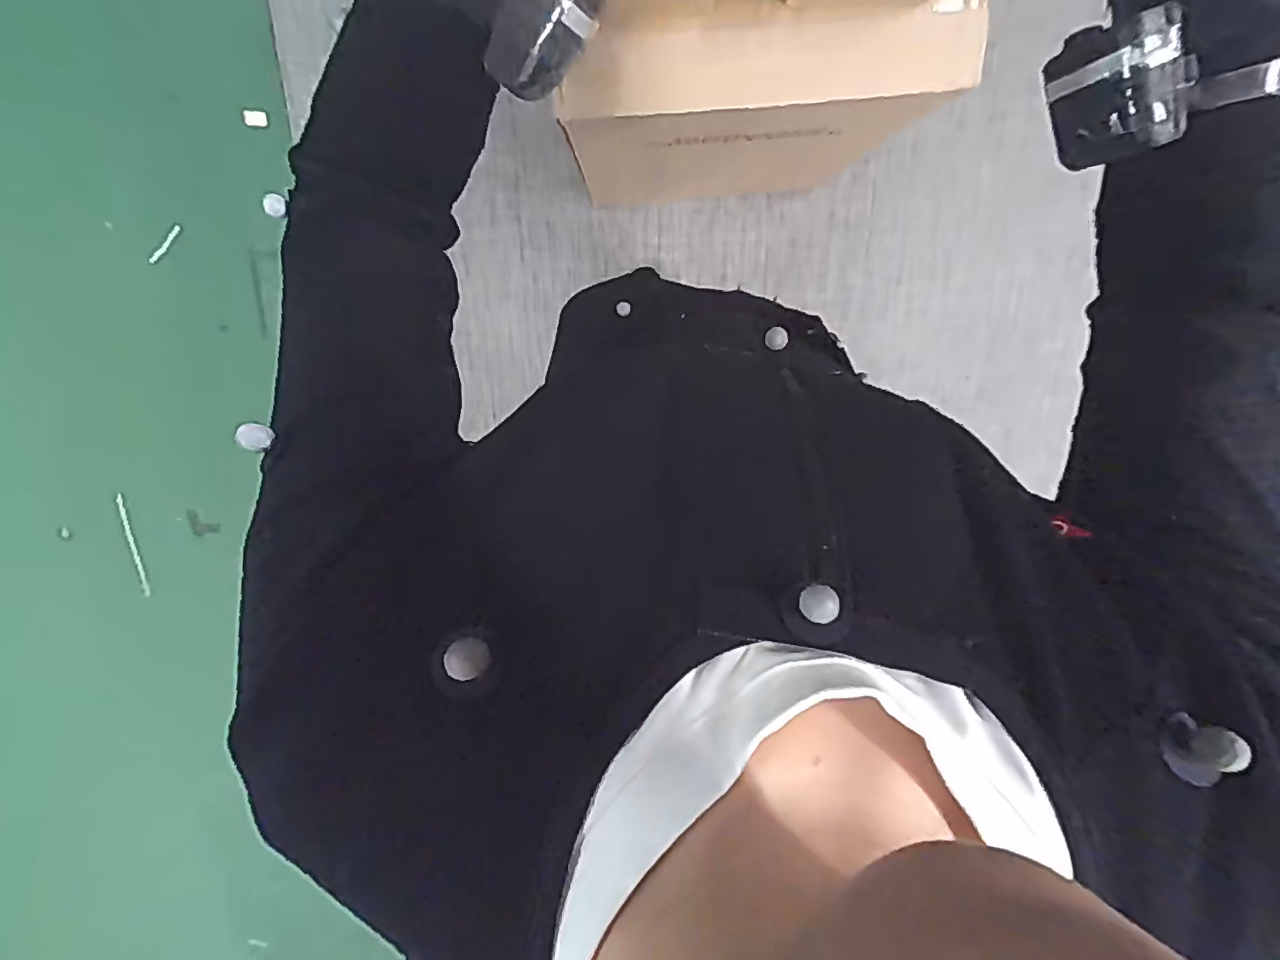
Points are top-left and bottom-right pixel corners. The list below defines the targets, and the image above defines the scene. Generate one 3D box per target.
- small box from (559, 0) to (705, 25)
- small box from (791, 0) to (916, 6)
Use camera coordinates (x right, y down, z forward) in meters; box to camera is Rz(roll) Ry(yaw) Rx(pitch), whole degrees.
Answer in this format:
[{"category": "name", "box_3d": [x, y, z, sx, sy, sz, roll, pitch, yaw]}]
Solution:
[{"category": "small box", "box_3d": [-0.008, -0.592, 0.538, 0.179, 0.176, 0.168, -4, 111, 2]}, {"category": "small box", "box_3d": [0.253, -0.608, 0.537, 0.179, 0.176, 0.168, -2, 112, 0]}]
